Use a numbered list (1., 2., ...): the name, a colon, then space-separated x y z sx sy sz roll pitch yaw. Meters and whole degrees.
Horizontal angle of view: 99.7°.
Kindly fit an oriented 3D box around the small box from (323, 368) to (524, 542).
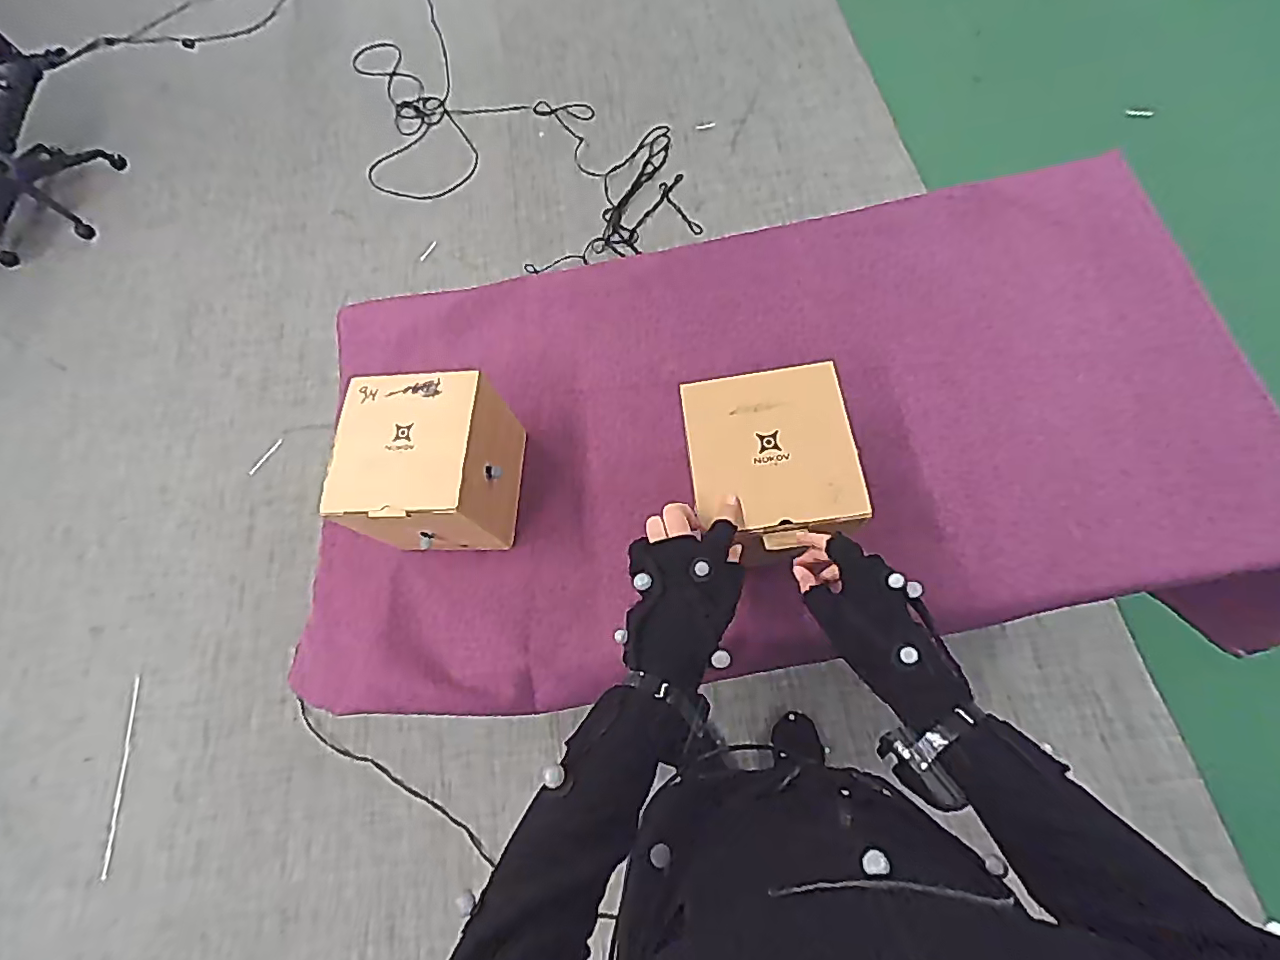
1. small box: -0.256 -0.021 0.686 0.168 0.176 0.179 -1 70 8

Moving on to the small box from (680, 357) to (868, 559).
1. small box: 0.142 -0.012 0.622 0.168 0.176 0.179 -8 68 5
